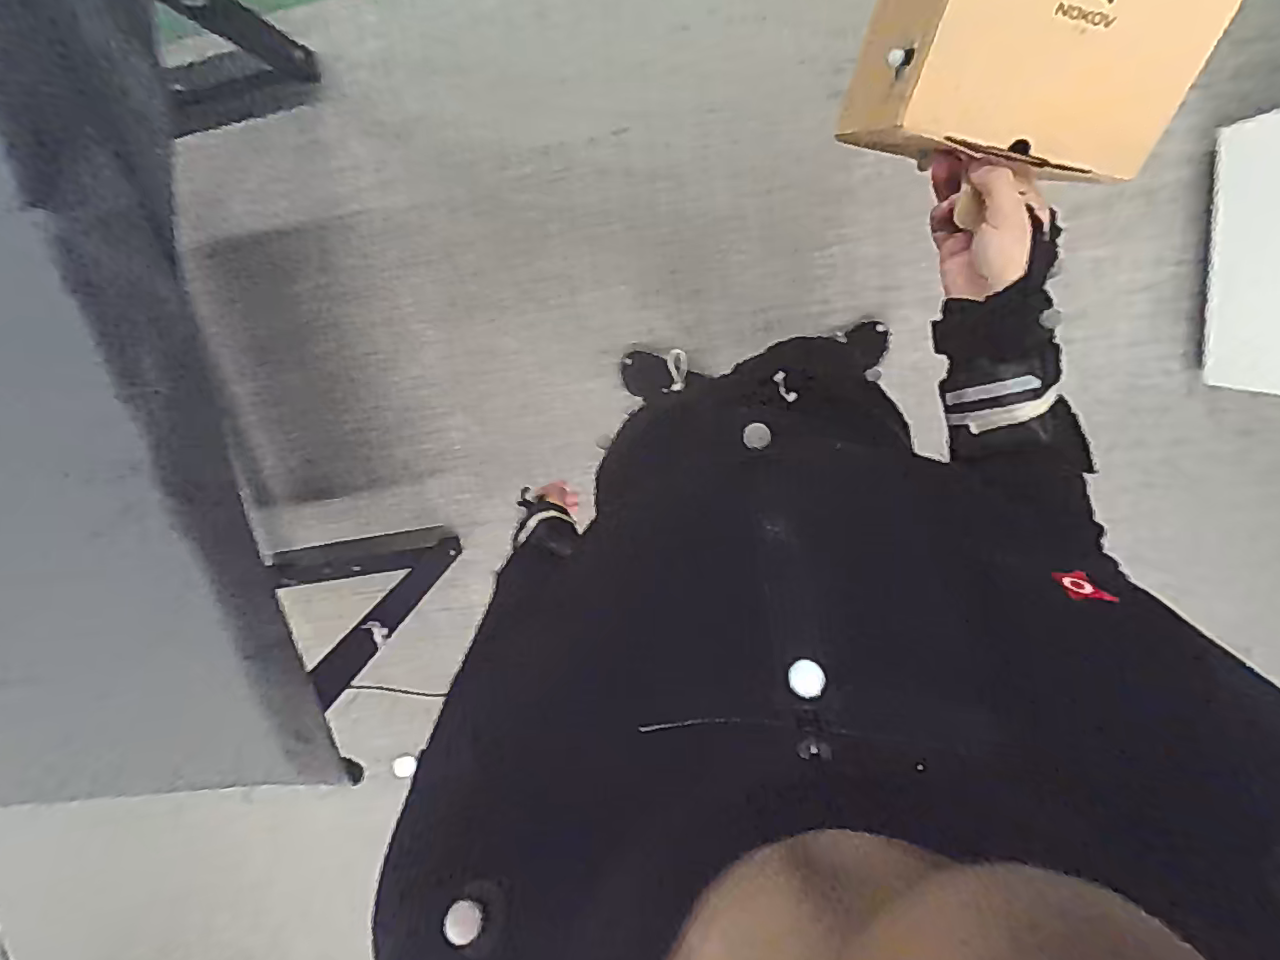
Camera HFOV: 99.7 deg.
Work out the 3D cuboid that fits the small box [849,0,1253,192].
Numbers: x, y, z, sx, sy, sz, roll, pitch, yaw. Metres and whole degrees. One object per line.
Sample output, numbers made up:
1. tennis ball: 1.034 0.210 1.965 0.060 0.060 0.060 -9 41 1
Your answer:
1. small box: 0.272 -0.321 0.380 0.168 0.176 0.179 11 122 -4
